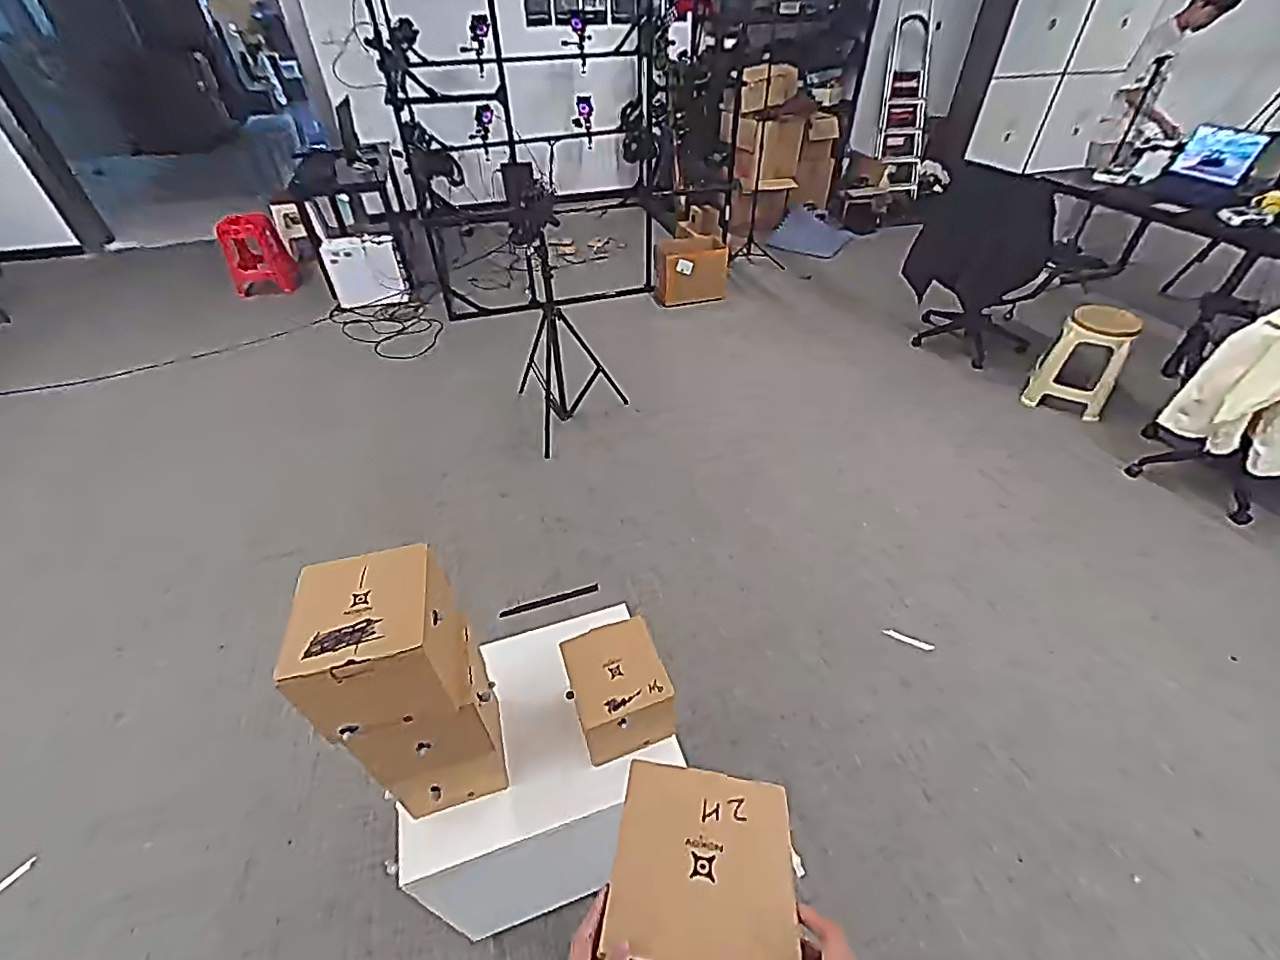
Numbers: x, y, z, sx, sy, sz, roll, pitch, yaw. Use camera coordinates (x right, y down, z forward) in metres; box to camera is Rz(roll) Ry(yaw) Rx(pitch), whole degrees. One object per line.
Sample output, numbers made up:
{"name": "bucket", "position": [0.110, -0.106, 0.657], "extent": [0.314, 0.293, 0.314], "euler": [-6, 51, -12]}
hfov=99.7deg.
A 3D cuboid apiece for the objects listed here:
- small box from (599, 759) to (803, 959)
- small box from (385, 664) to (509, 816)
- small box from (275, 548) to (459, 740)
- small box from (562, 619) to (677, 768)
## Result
{"name": "small box", "position": [0.056, 0.421, 0.535], "extent": [0.168, 0.176, 0.179], "euler": [8, 27, 5]}
{"name": "small box", "position": [-0.335, 0.463, 0.954], "extent": [0.168, 0.176, 0.179], "euler": [-13, 43, -13]}
{"name": "small box", "position": [-0.347, 0.224, 0.727], "extent": [0.168, 0.176, 0.179], "euler": [-11, 42, -10]}
{"name": "small box", "position": [-0.039, 0.399, 1.013], "extent": [0.168, 0.176, 0.179], "euler": [-16, 44, -14]}
